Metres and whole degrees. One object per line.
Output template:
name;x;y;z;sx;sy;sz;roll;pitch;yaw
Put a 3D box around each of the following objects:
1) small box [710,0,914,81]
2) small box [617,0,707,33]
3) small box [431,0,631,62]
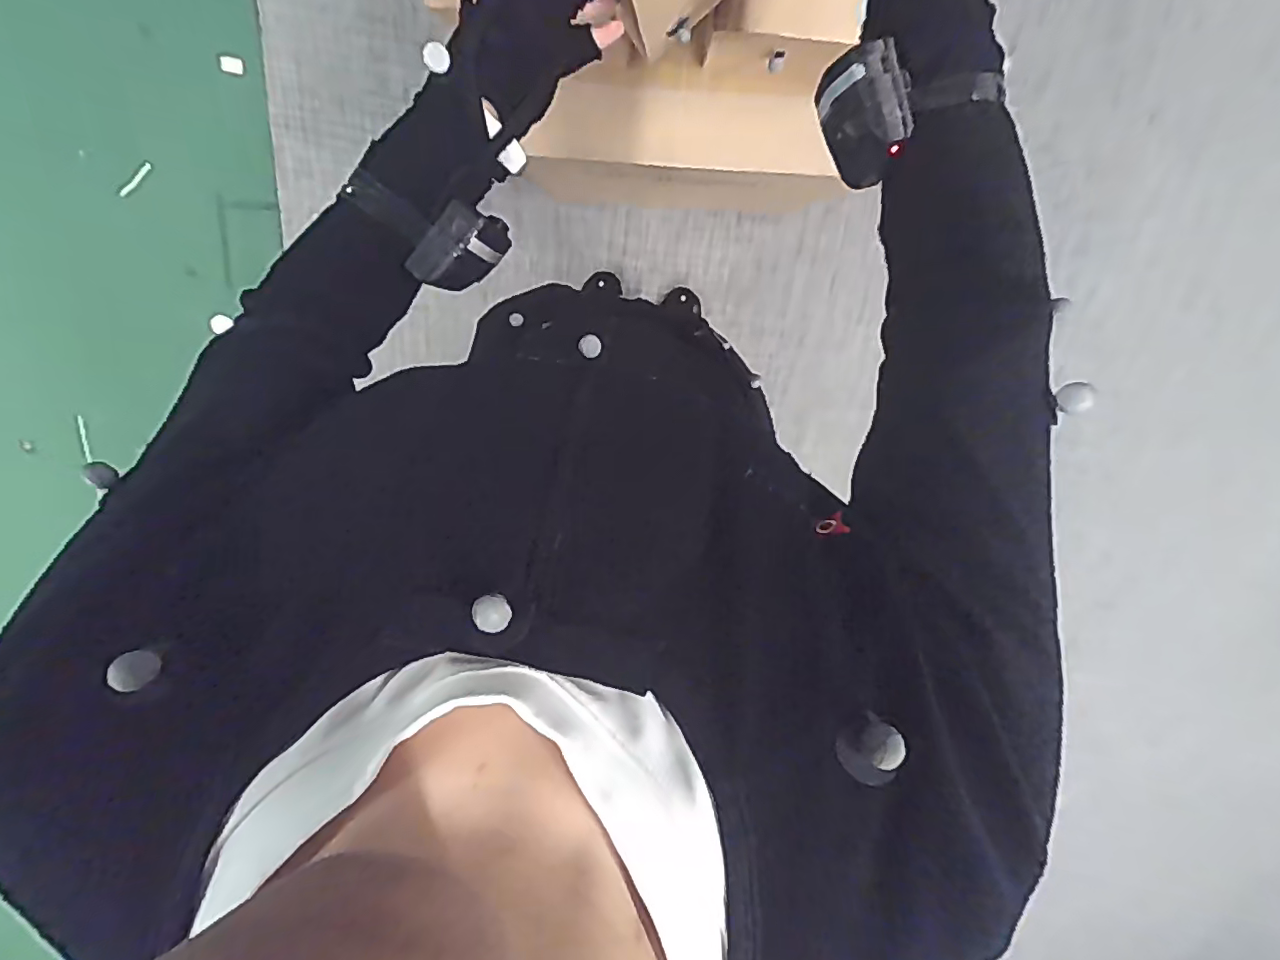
small box;0.166;-0.511;0.526;0.179;0.176;0.168;7;117;1
small box;0.019;-0.451;0.360;0.168;0.176;0.179;-33;103;17
small box;-0.095;-0.535;0.530;0.179;0.176;0.168;5;115;2
